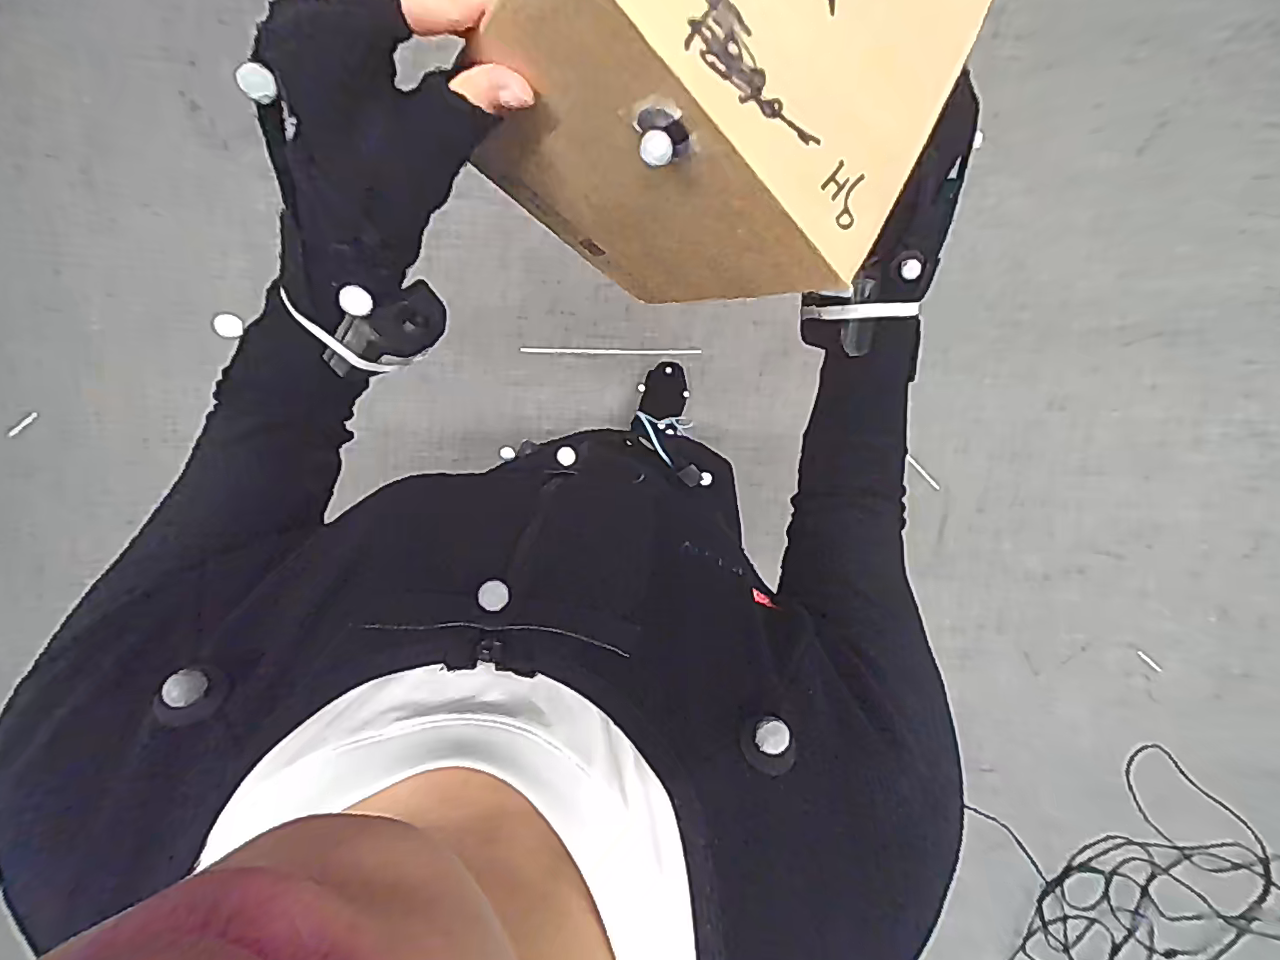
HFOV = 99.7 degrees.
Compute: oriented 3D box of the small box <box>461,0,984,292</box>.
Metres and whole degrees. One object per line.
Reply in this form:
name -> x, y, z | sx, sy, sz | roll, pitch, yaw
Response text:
small box -> 0.033, -0.220, 0.274 | 0.168, 0.176, 0.179 | 30, 84, -34
